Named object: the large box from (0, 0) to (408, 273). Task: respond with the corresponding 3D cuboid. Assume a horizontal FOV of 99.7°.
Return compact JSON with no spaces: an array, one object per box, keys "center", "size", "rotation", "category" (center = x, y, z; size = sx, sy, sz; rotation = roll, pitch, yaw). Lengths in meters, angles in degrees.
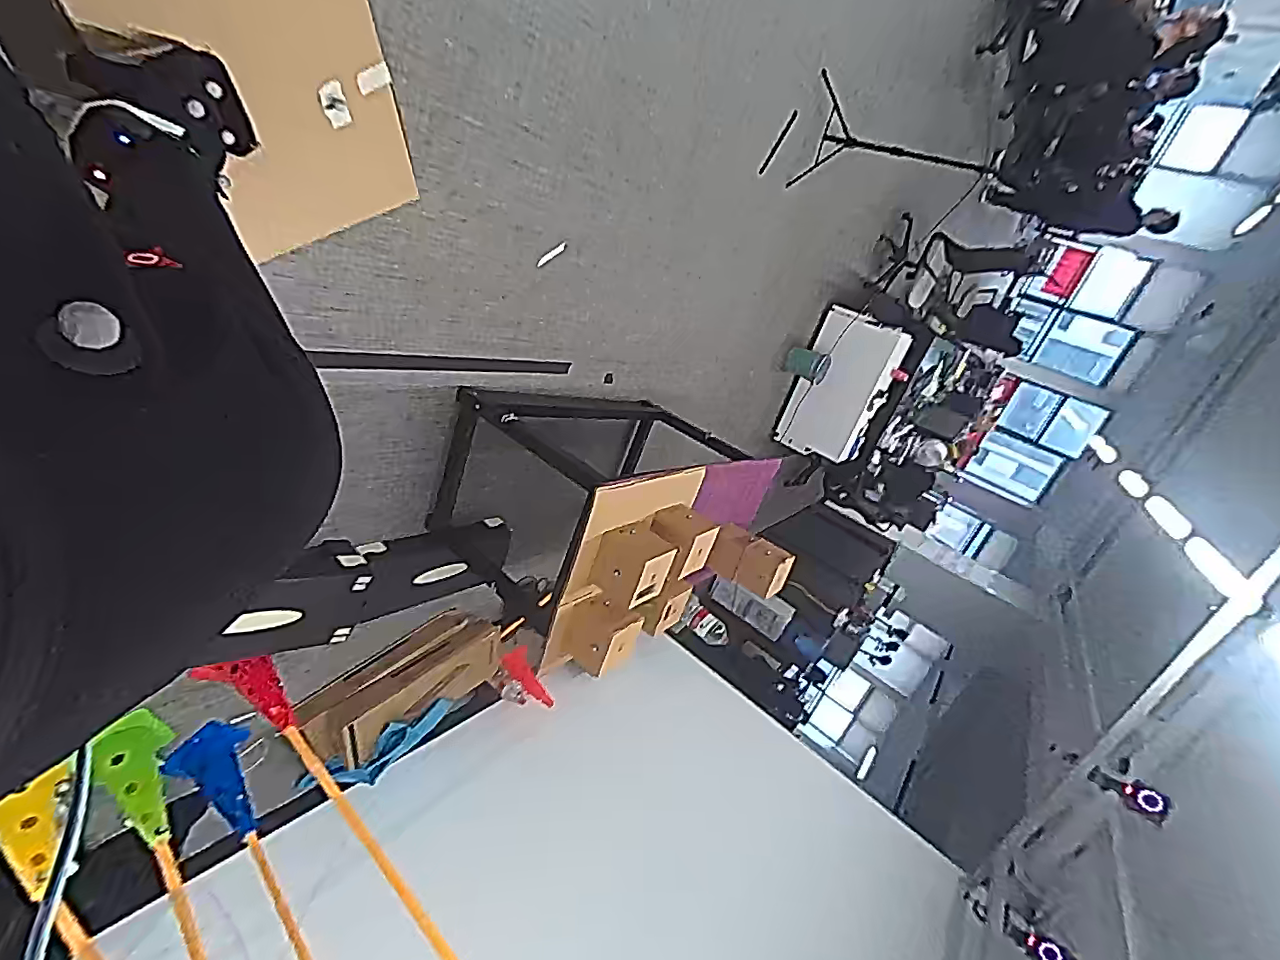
[{"center":[-0.584,-0.512,0.677],"size":[0.320,0.408,0.320],"rotation":[-50,154,-35],"category":"large box"}]
